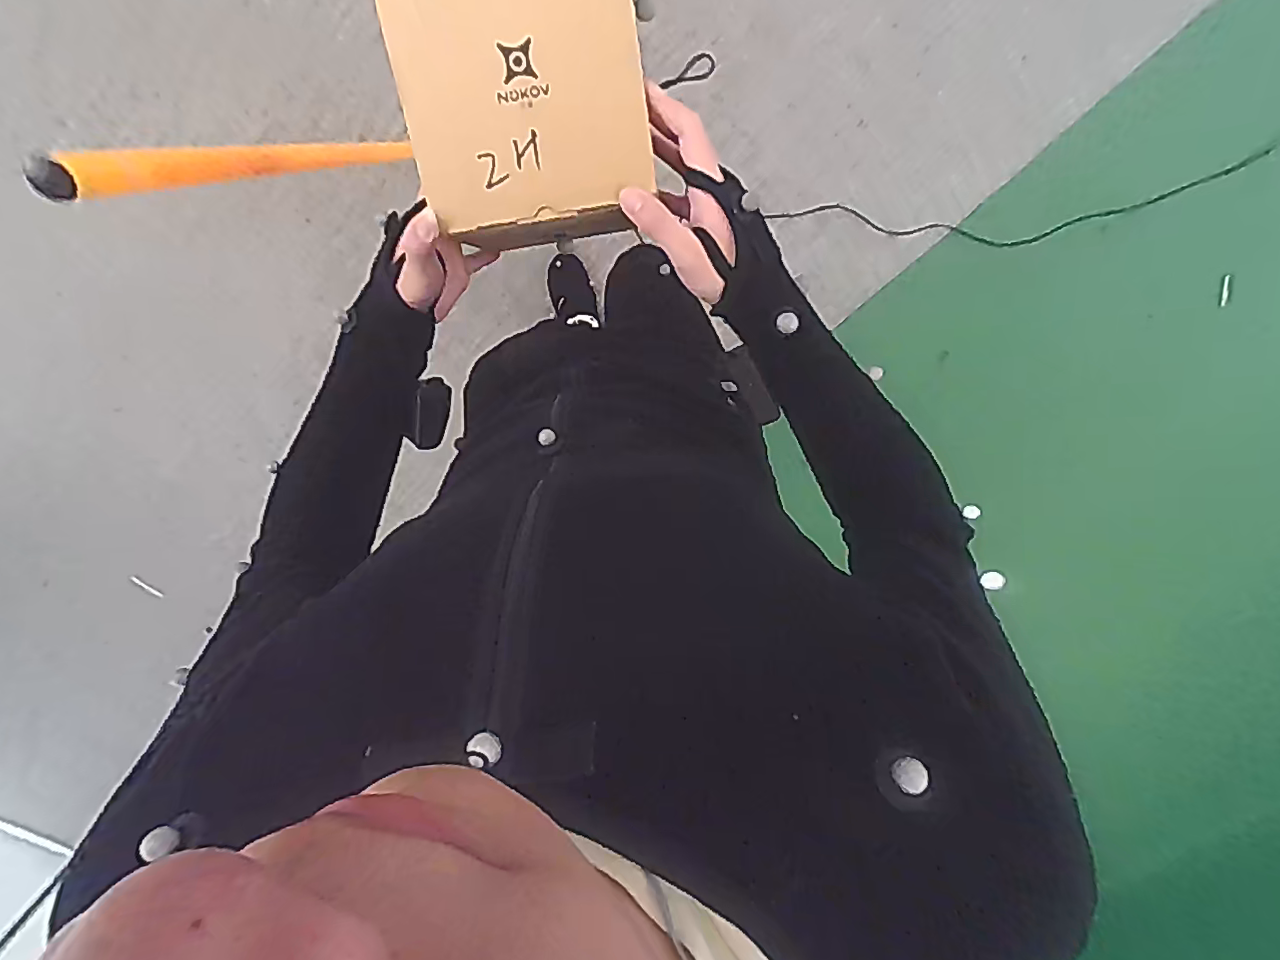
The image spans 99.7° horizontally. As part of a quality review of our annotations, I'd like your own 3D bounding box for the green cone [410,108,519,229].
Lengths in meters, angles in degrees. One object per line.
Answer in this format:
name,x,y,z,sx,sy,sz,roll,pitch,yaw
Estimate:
green cone,-0.413,-0.682,1.153,0.202,0.368,0.200,-40,110,13
